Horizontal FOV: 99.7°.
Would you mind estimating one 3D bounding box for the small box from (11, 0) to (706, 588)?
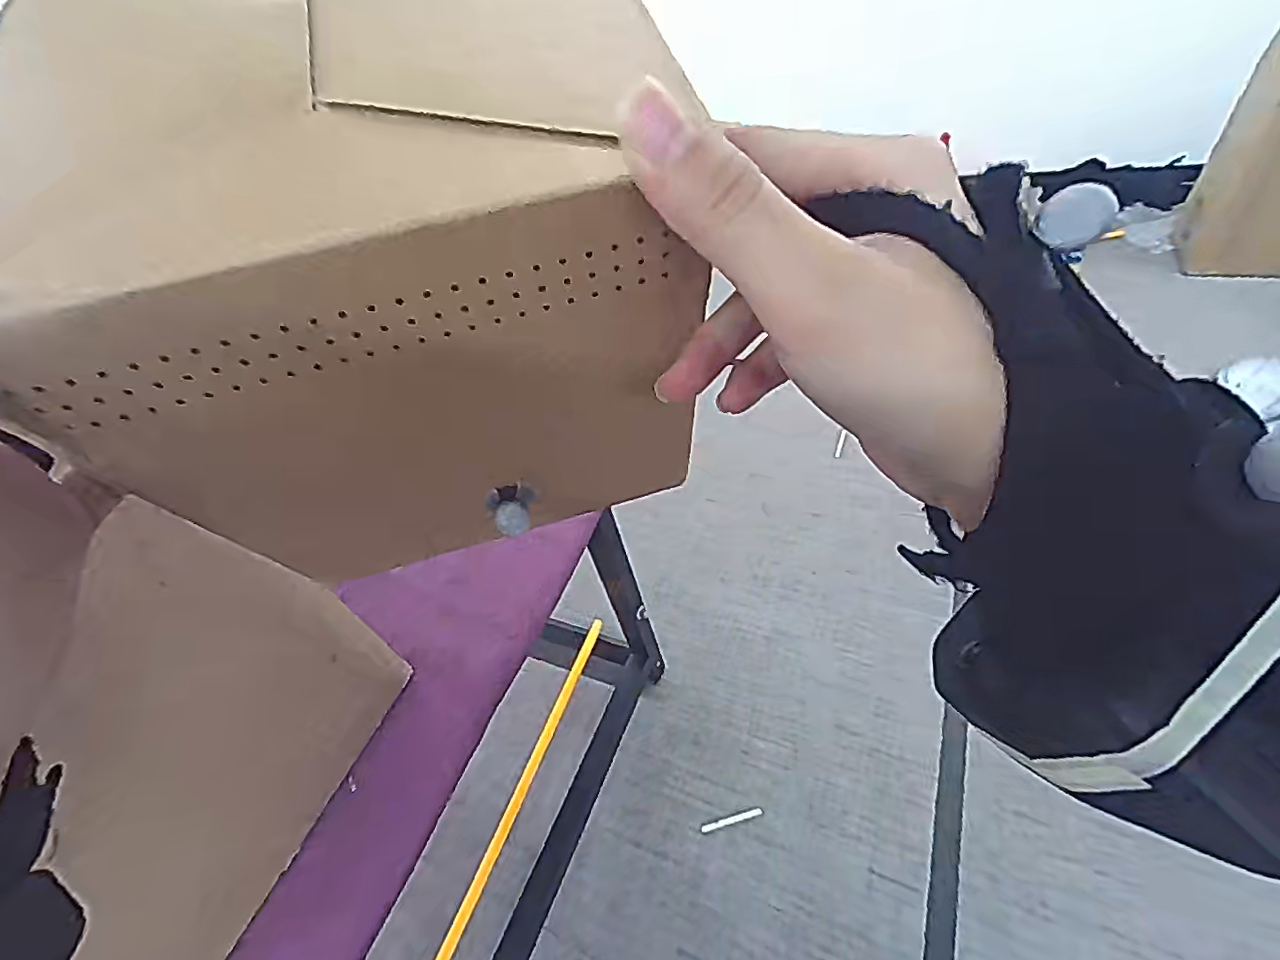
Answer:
[{"bbox_3d":[-0.083,-0.077,0.222,0.179,0.176,0.168,-16,64,-5],"label":"small box"}]
